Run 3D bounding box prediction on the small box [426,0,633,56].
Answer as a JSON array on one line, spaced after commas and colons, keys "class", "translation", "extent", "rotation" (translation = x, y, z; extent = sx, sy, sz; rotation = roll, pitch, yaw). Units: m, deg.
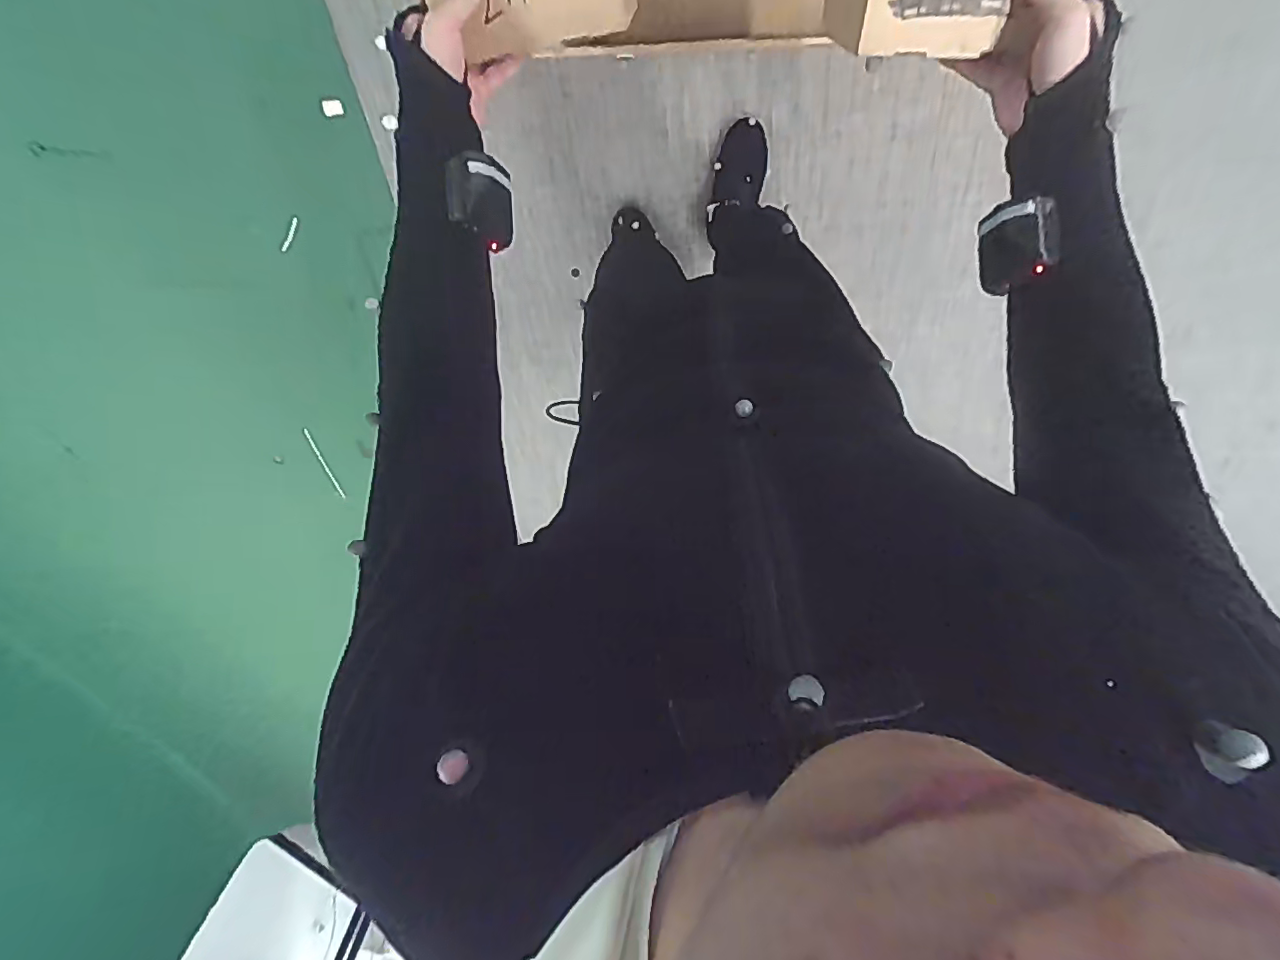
[{"class": "small box", "translation": [-0.101, -0.495, 0.460], "extent": [0.168, 0.176, 0.179], "rotation": [-4, 135, 9]}]
